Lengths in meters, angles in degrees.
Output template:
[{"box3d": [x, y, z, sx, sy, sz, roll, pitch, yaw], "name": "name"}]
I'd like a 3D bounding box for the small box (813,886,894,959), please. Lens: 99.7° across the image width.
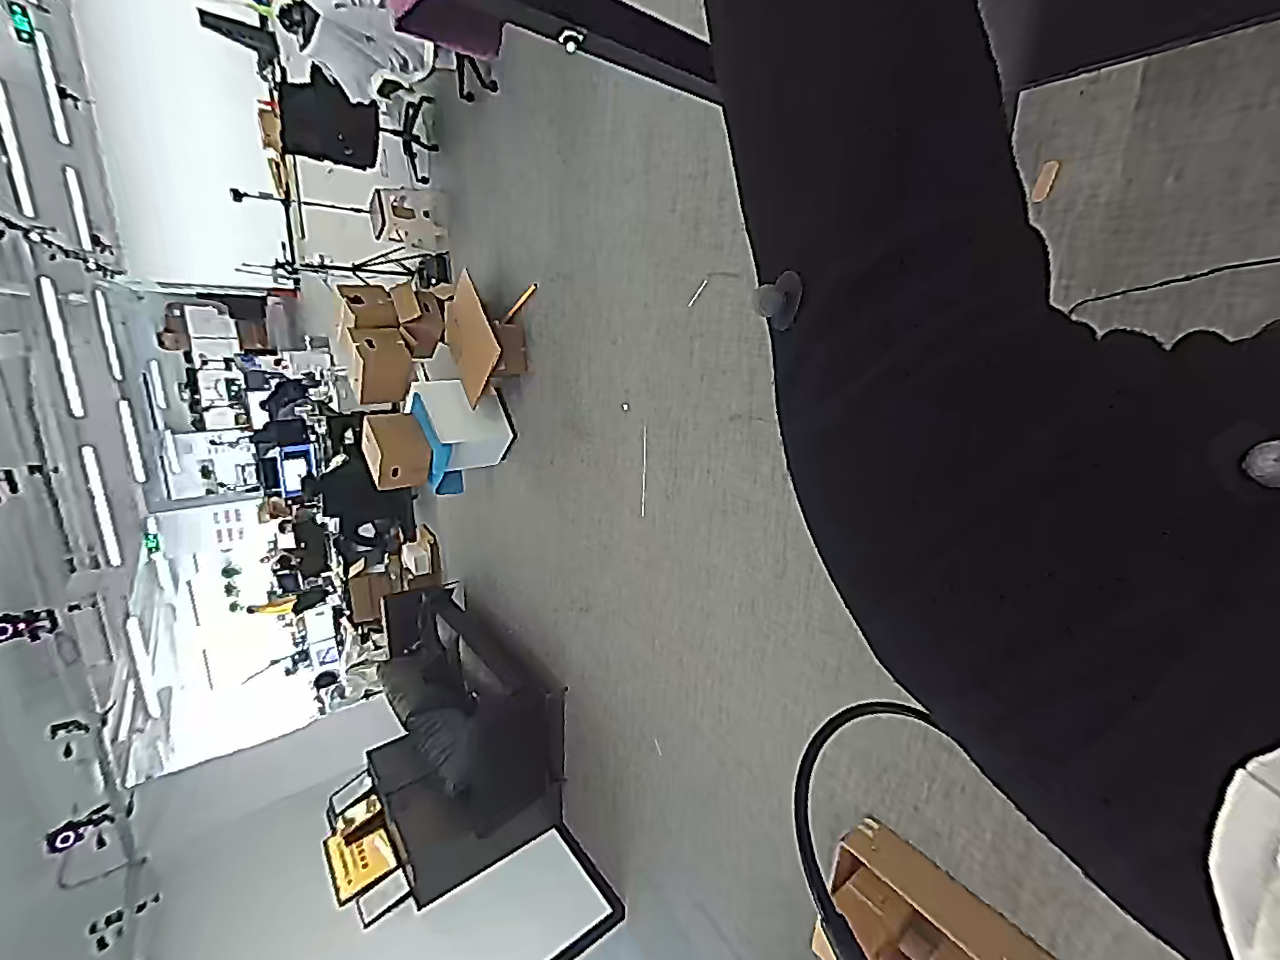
[{"box3d": [0.696, 1.488, 1.759, 0.179, 0.176, 0.168, 22, 114, 48], "name": "small box"}]
